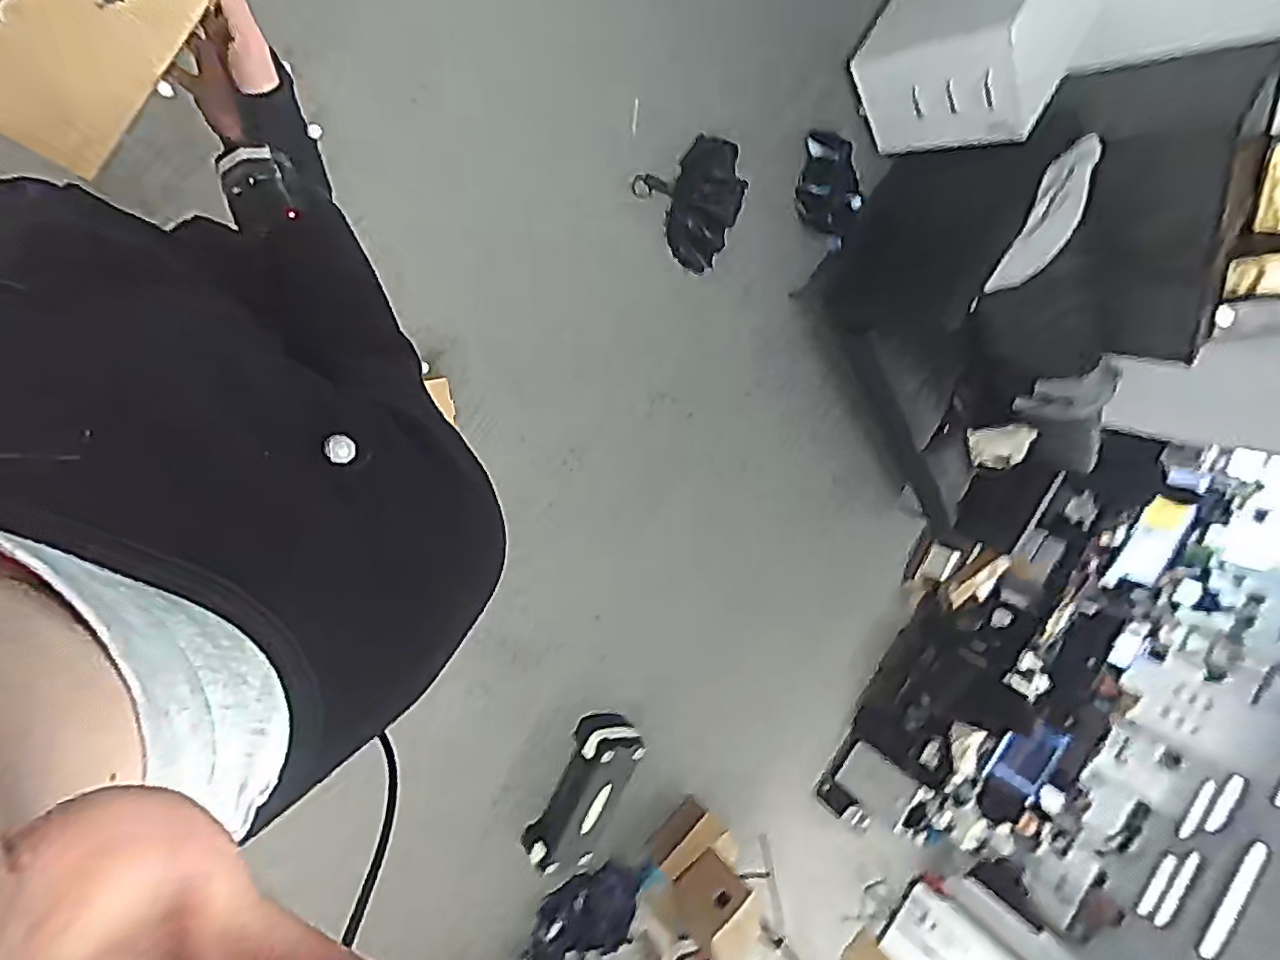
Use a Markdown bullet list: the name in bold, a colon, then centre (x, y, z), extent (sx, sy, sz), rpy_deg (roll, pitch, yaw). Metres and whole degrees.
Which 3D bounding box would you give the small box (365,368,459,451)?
- **small box**: centre (-0.612, -0.196, 1.450), extent (0.179, 0.176, 0.168), rpy_deg (-19, 119, -32)
